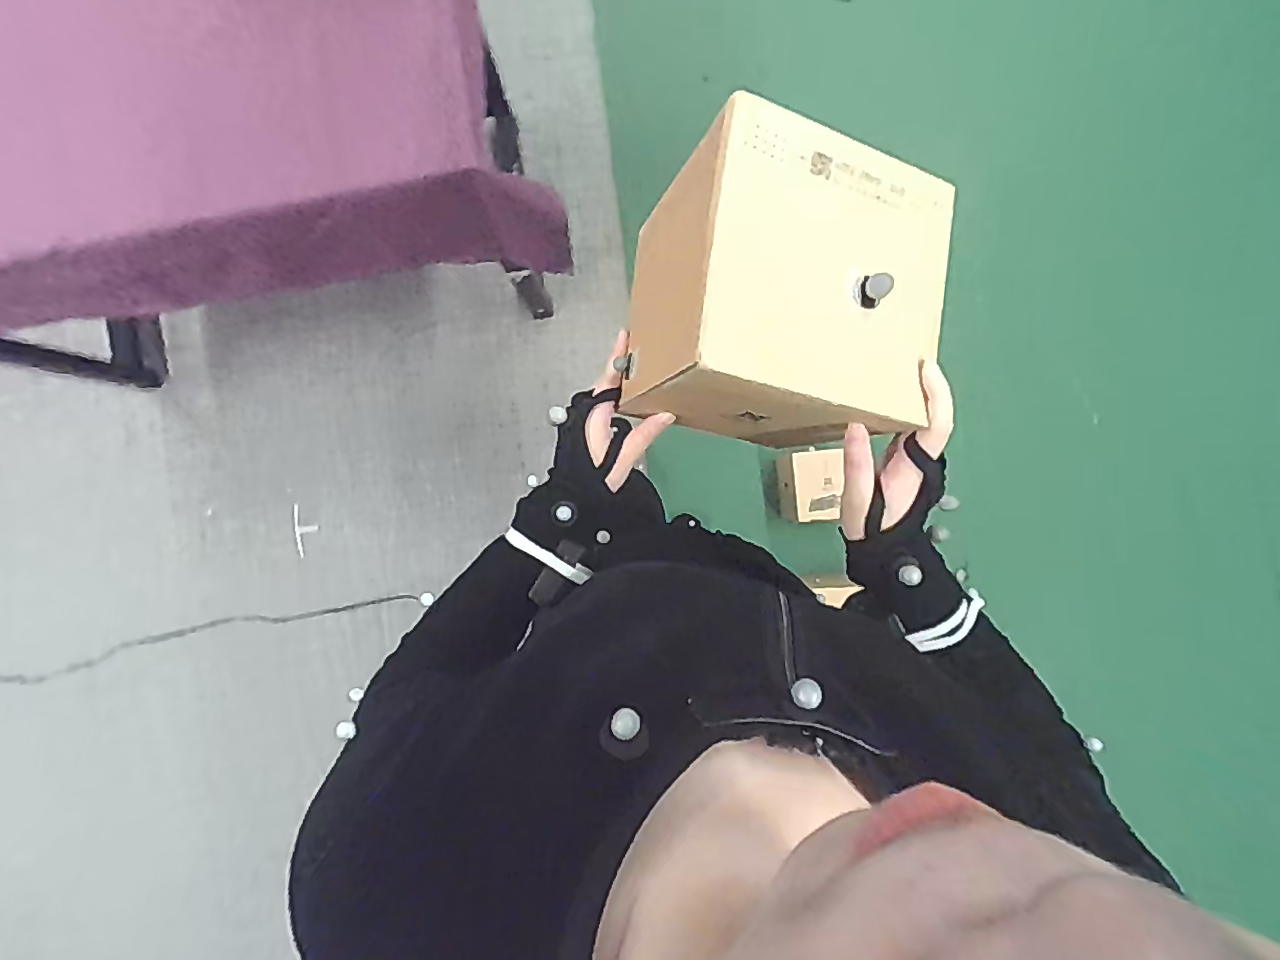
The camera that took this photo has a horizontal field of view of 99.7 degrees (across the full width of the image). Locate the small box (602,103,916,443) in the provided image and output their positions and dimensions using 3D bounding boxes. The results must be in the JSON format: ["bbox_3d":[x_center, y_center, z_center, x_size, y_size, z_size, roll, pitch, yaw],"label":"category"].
[{"bbox_3d":[0.079,-0.129,0.404,0.168,0.179,0.176,9,86,-18],"label":"small box"}]

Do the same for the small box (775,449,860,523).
[{"bbox_3d":[0.459,0.015,1.417,0.168,0.176,0.179,-5,88,0],"label":"small box"}]
